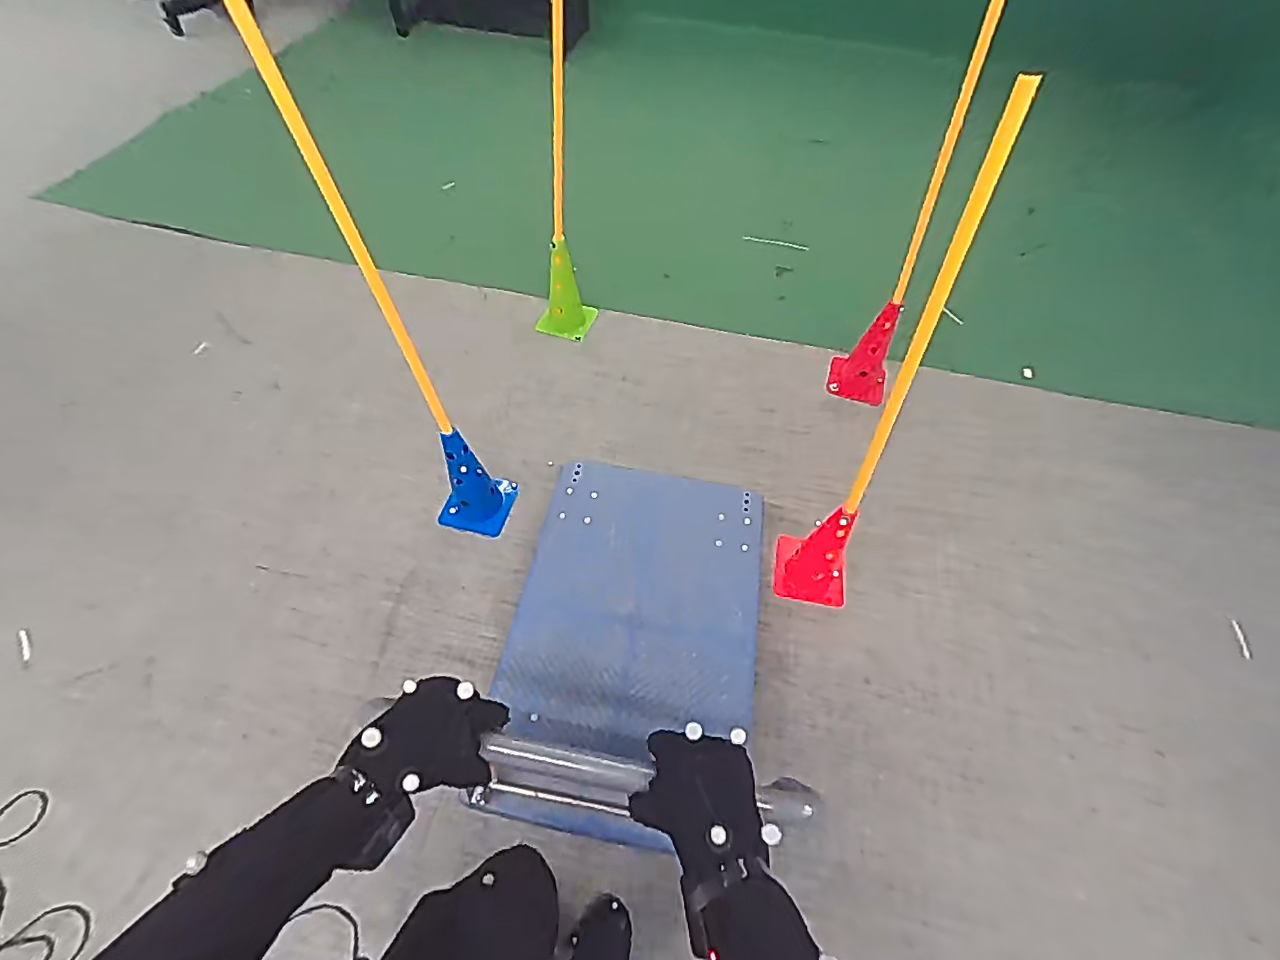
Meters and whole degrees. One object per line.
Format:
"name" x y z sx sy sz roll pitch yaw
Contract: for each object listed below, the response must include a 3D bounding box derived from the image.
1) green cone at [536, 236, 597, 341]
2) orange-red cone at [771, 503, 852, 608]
"green cone" -0.288 -0.732 2.011 0.202 0.368 0.200 16 57 9
"orange-red cone" 0.488 0.172 1.442 0.199 0.360 0.198 11 56 7
